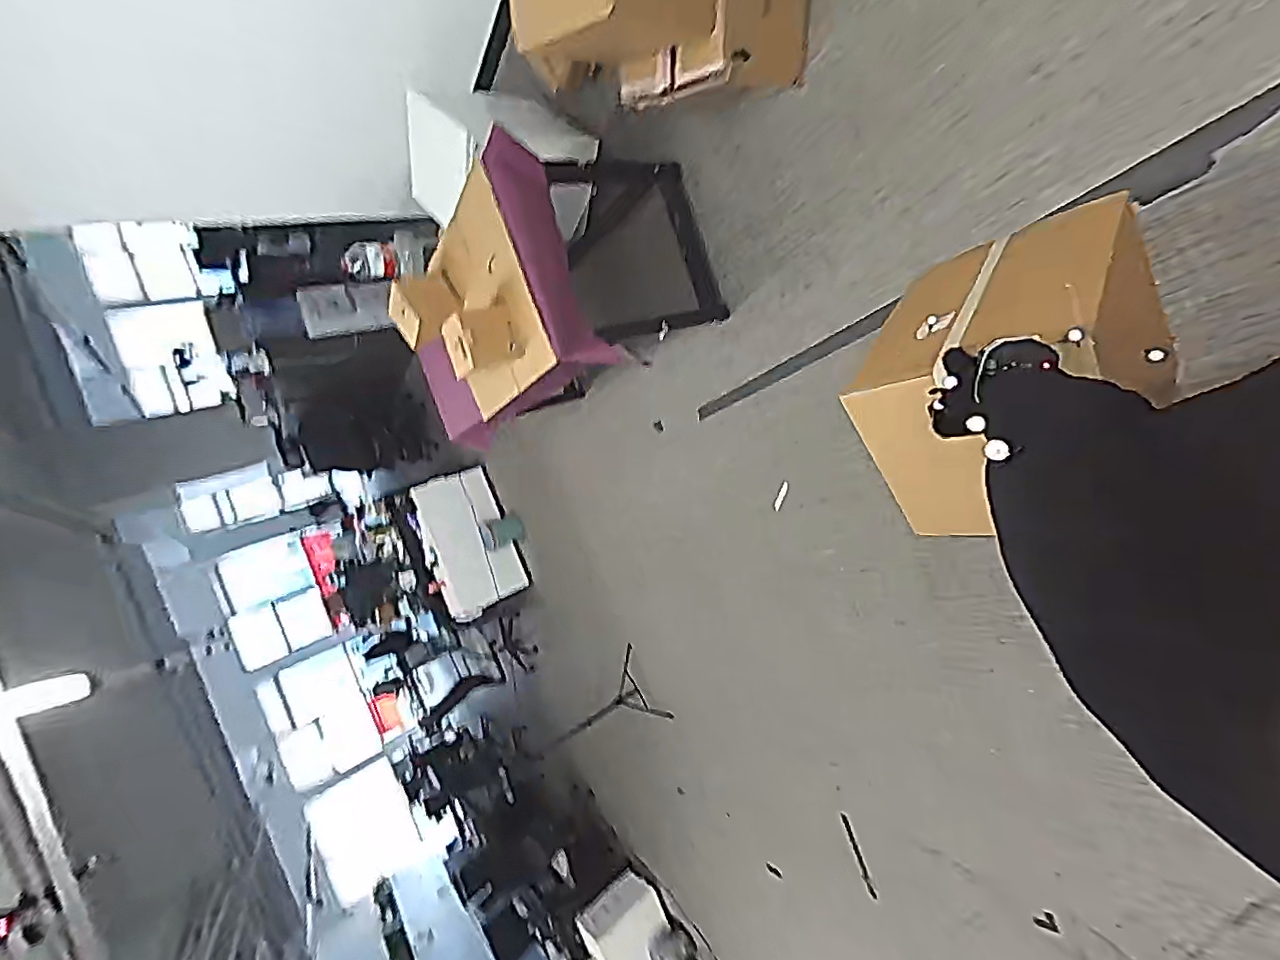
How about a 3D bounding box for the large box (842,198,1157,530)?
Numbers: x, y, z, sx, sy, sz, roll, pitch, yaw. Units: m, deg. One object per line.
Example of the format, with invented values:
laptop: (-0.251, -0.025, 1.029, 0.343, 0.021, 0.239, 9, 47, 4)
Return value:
large box: (0.596, -0.168, 0.876, 0.320, 0.408, 0.320, -9, 125, 52)
